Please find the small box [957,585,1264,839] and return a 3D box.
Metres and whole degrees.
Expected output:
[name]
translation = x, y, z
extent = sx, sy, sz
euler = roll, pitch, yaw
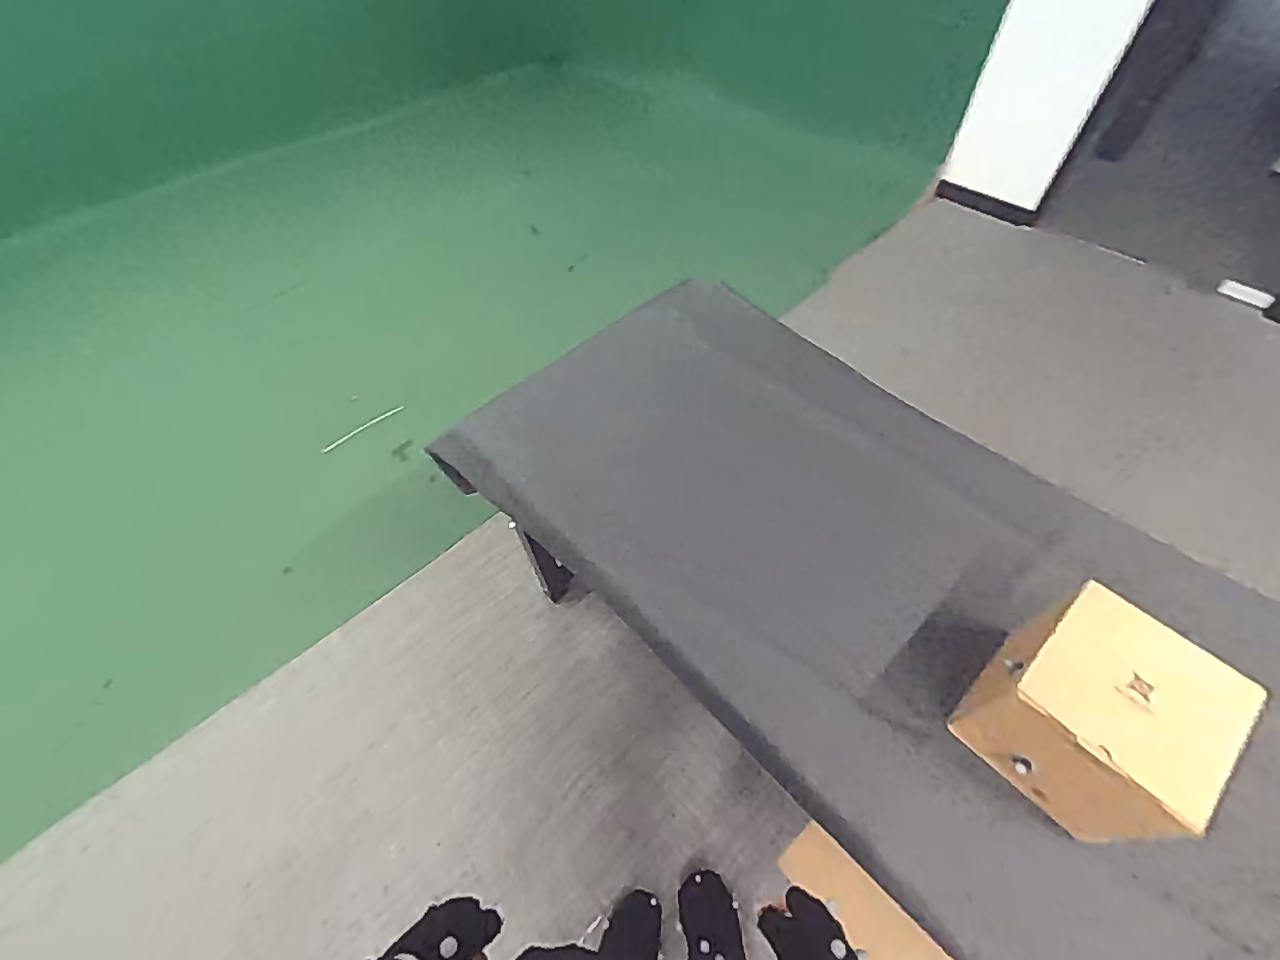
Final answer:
[small box]
translation = 0.491, 0.255, 0.593
extent = 0.179, 0.176, 0.168
euler = -38, 61, -21
